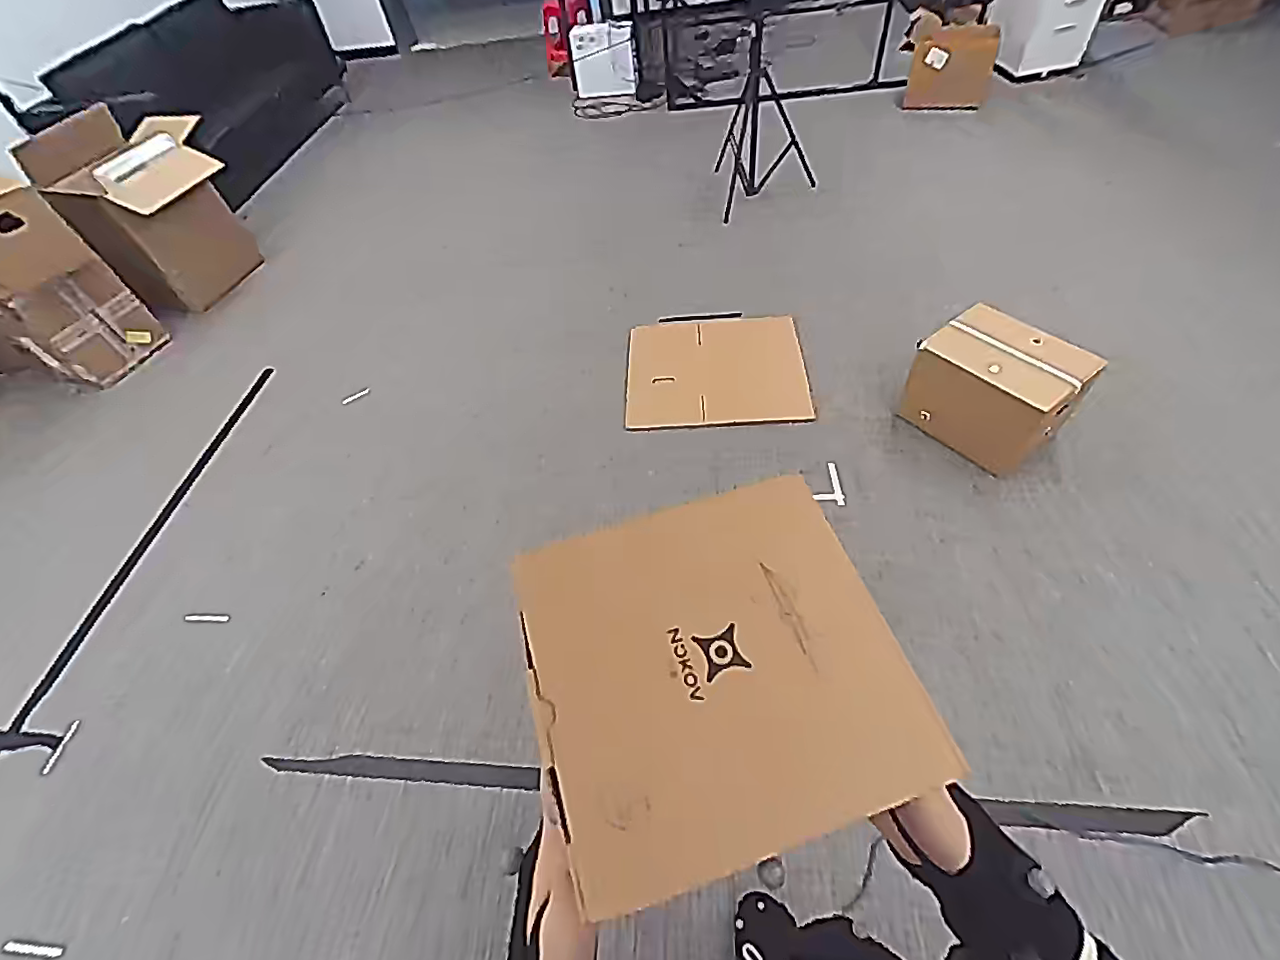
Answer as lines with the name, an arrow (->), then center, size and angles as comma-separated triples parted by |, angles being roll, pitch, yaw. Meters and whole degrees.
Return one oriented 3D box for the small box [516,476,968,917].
small box -> 0.041, 0.128, 0.331 | 0.179, 0.176, 0.168 | -16, 60, -9
